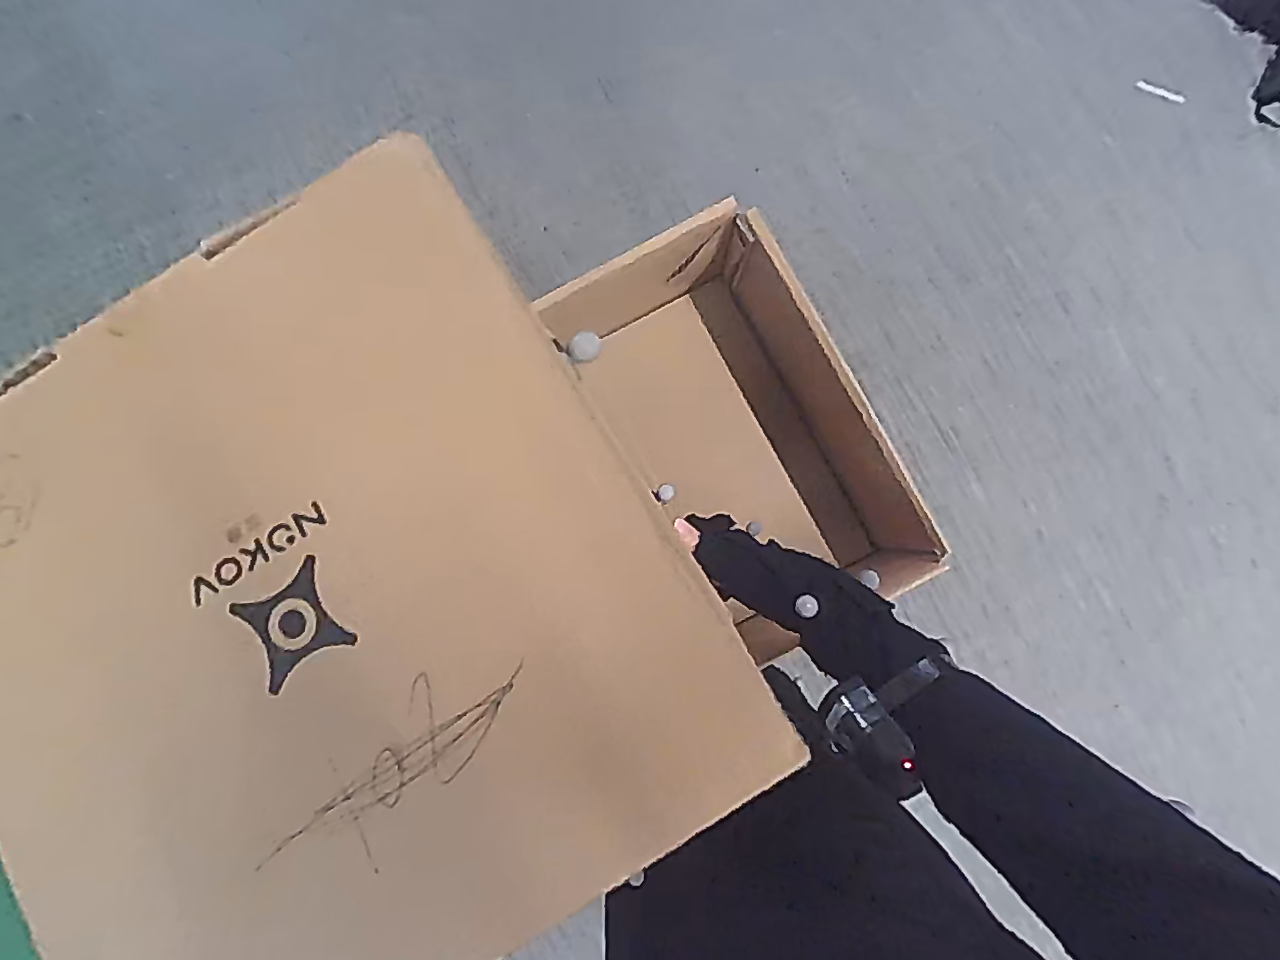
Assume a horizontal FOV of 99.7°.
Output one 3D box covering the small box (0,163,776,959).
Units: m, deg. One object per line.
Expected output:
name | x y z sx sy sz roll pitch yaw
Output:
small box | -0.075 0.037 0.212 0.168 0.176 0.179 -33 83 1
